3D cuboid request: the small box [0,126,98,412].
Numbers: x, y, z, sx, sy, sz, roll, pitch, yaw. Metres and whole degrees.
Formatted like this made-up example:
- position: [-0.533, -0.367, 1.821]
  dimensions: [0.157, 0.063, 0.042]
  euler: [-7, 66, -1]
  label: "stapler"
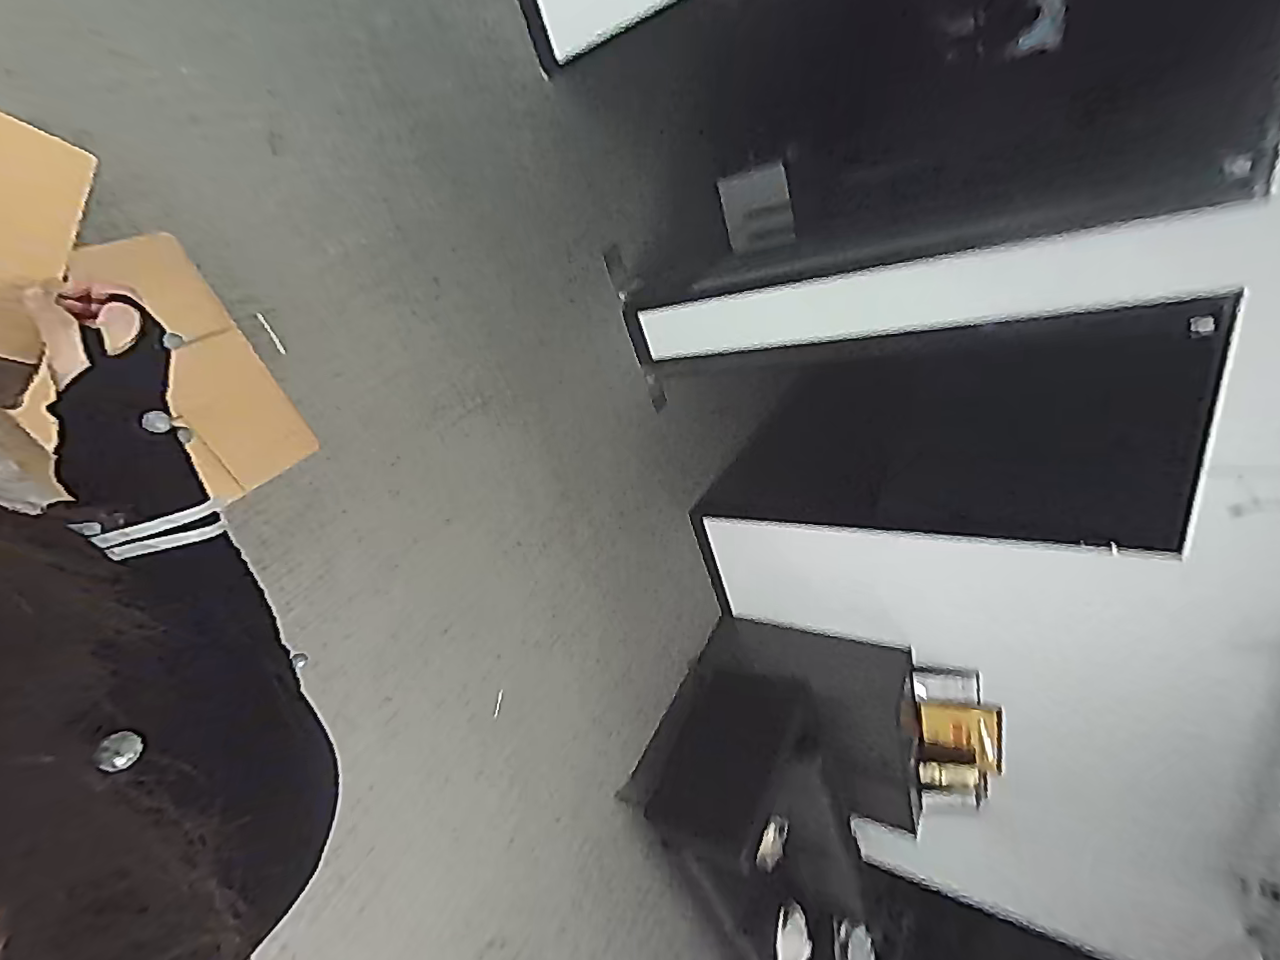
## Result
- position: [-0.532, -0.161, 0.386]
  dimensions: [0.168, 0.176, 0.179]
  euler: [15, 75, -50]
  label: "small box"
